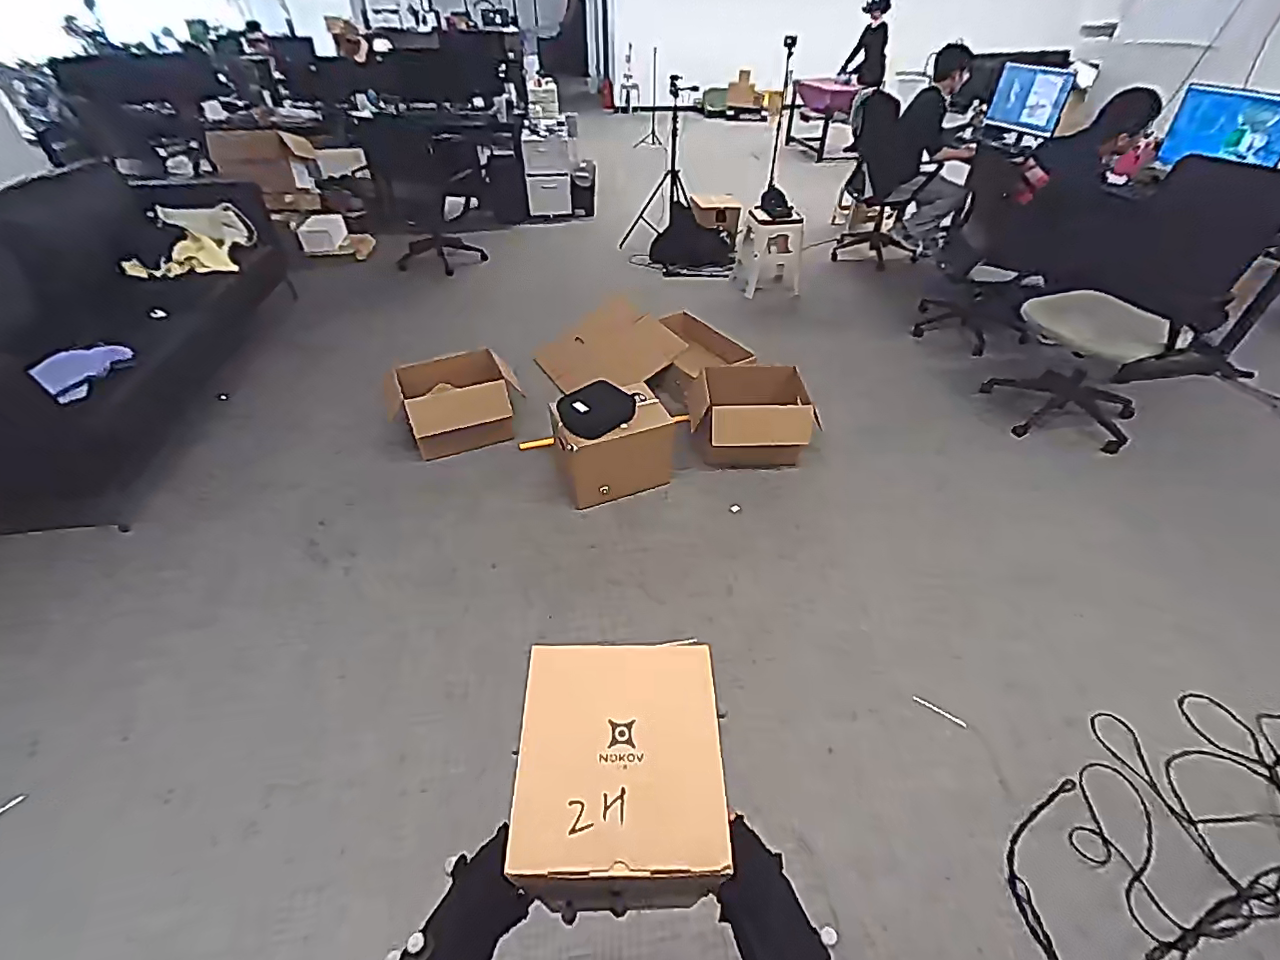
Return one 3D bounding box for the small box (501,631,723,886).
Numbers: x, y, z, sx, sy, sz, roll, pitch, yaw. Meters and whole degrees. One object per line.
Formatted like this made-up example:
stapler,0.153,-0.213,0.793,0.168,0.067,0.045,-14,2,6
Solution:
small box,-0.023,0.261,0.508,0.168,0.176,0.179,1,48,-1
